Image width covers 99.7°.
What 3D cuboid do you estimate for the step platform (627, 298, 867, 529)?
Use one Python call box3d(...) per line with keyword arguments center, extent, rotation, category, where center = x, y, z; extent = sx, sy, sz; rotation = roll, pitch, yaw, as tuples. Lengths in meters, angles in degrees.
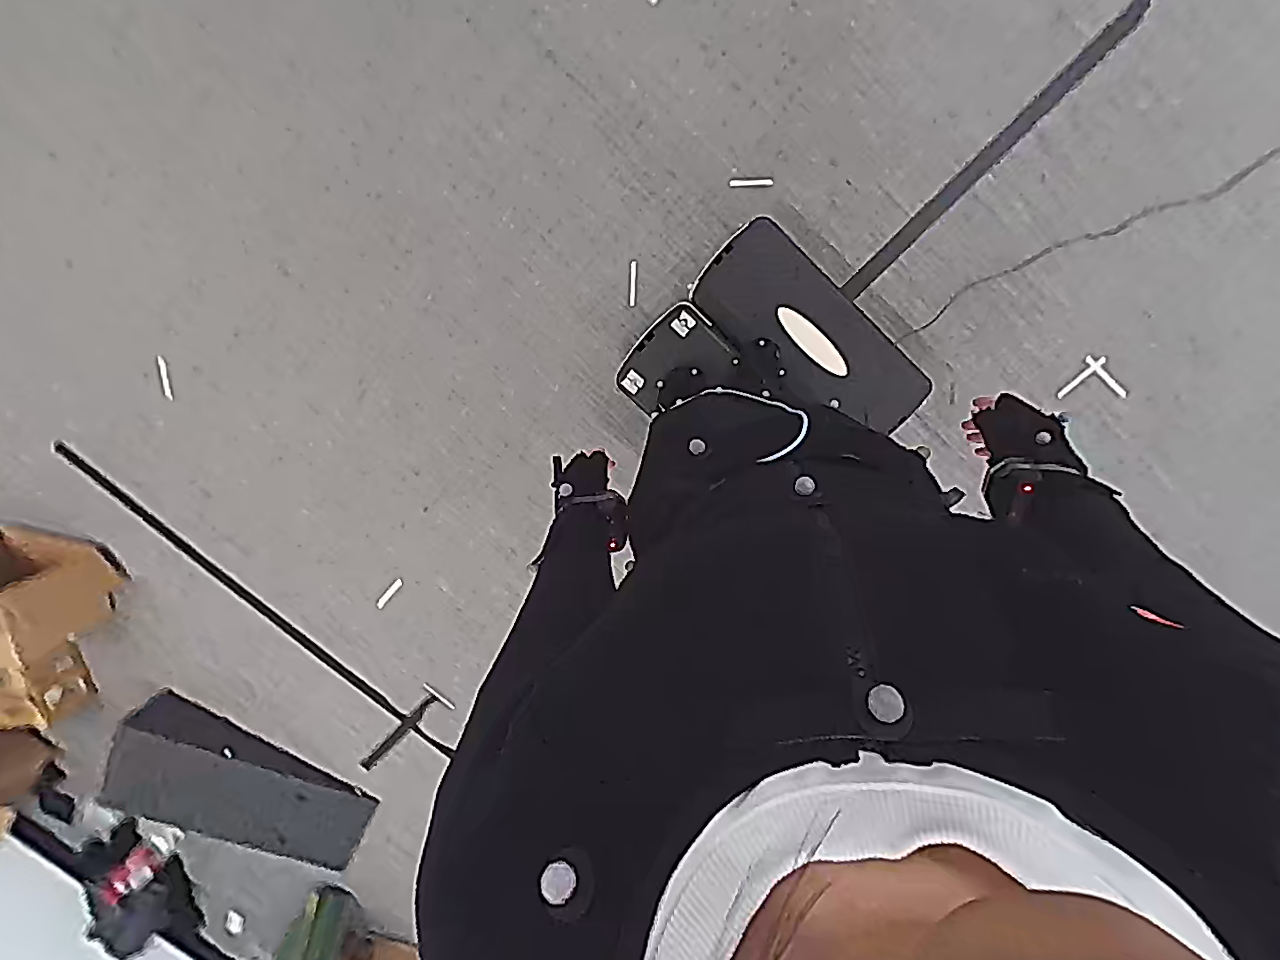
box3d(center=(0.290, -0.179, 1.493), extent=(0.684, 0.204, 0.286), rotation=(41, 107, -5), category="step platform")
